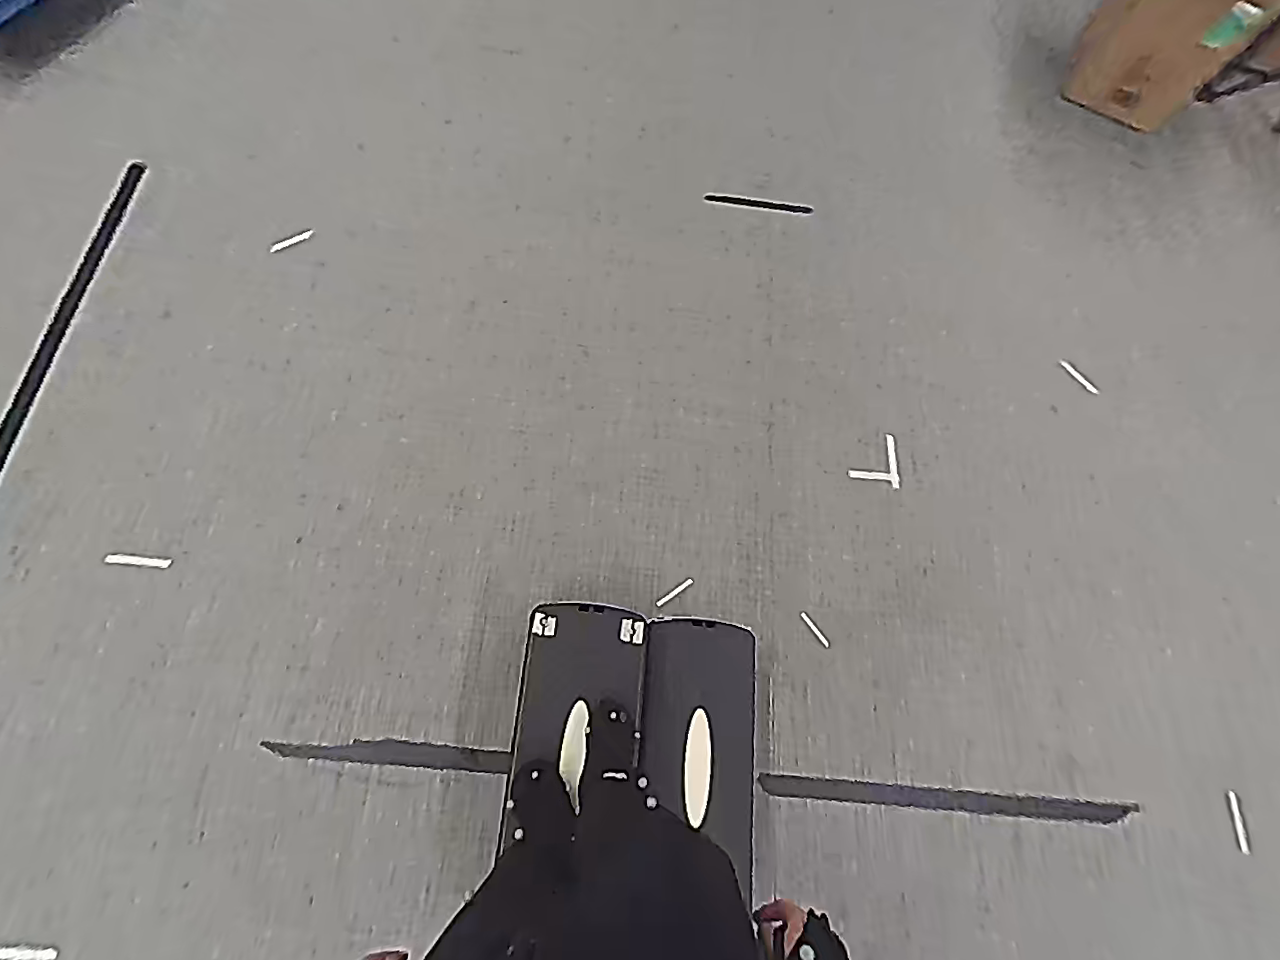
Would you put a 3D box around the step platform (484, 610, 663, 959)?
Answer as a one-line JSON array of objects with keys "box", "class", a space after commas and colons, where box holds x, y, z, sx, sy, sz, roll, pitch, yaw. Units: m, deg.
[{"box": [-0.133, 0.648, 1.224, 0.286, 0.204, 0.684, 10, 68, -3], "class": "step platform"}]
